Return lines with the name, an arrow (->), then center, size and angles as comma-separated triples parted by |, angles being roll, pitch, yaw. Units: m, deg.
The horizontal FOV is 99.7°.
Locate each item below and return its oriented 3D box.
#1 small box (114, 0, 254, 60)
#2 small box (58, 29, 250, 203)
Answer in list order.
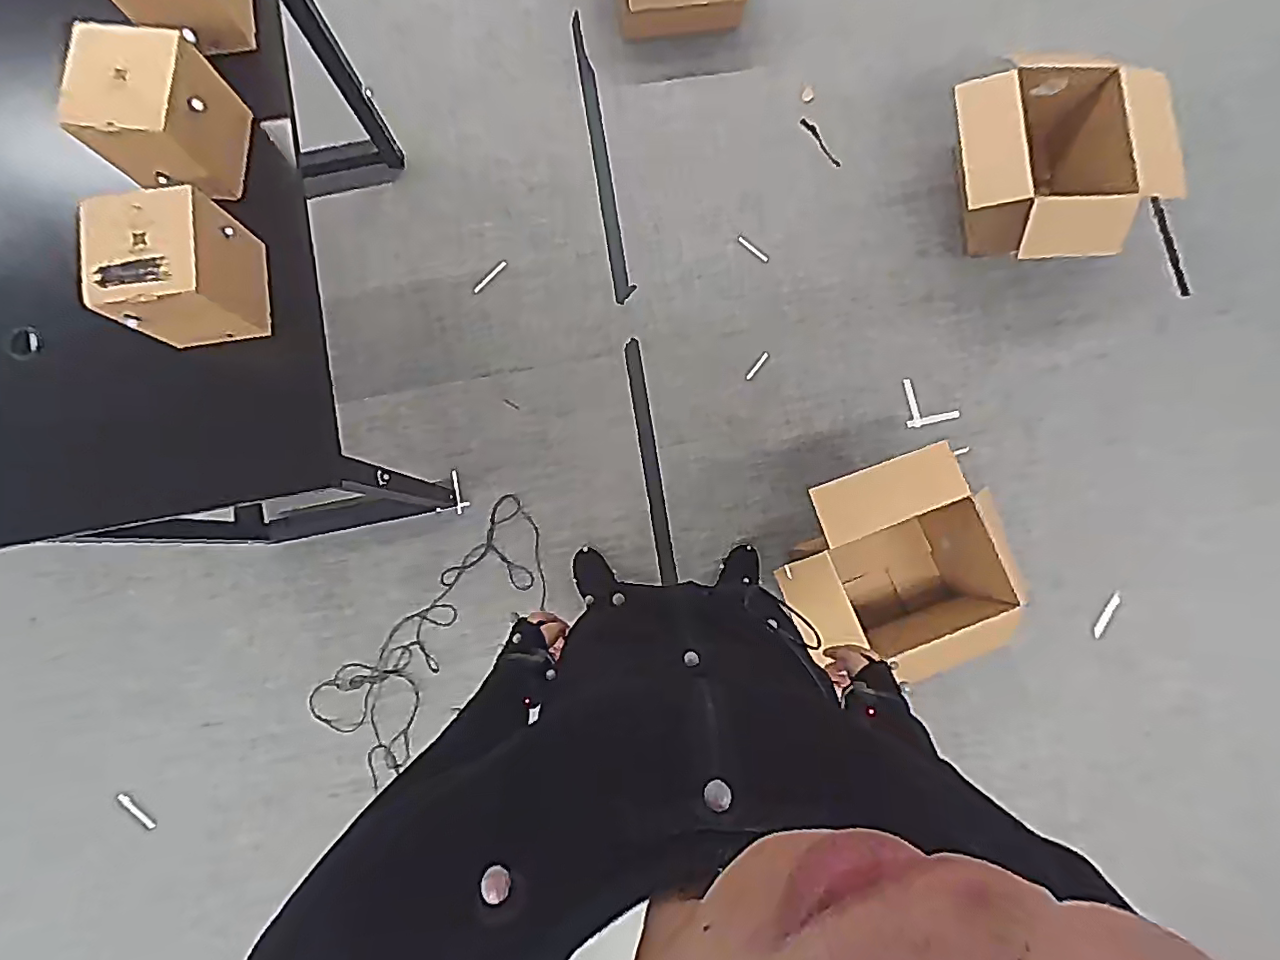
small box -> -0.814, -0.881, 0.940 | 0.168, 0.176, 0.179 | -9, 85, -1
small box -> -0.801, -0.603, 0.912 | 0.168, 0.176, 0.179 | 3, 84, 0
